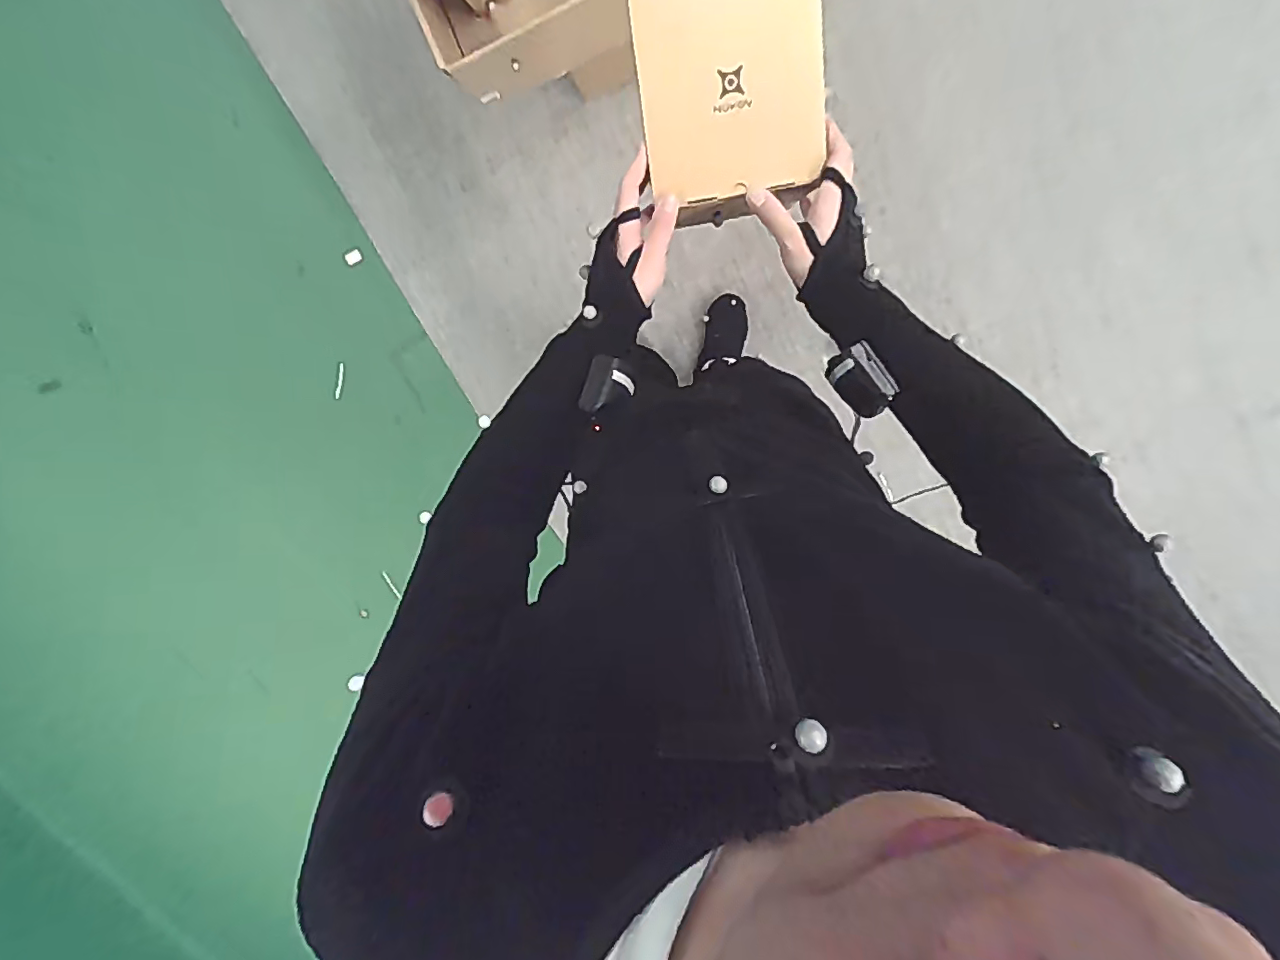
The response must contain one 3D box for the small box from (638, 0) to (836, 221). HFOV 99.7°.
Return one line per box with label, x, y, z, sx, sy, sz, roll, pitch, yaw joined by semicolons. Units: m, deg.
small box;0.089;-0.378;0.550;0.168;0.176;0.179;-8;110;5
